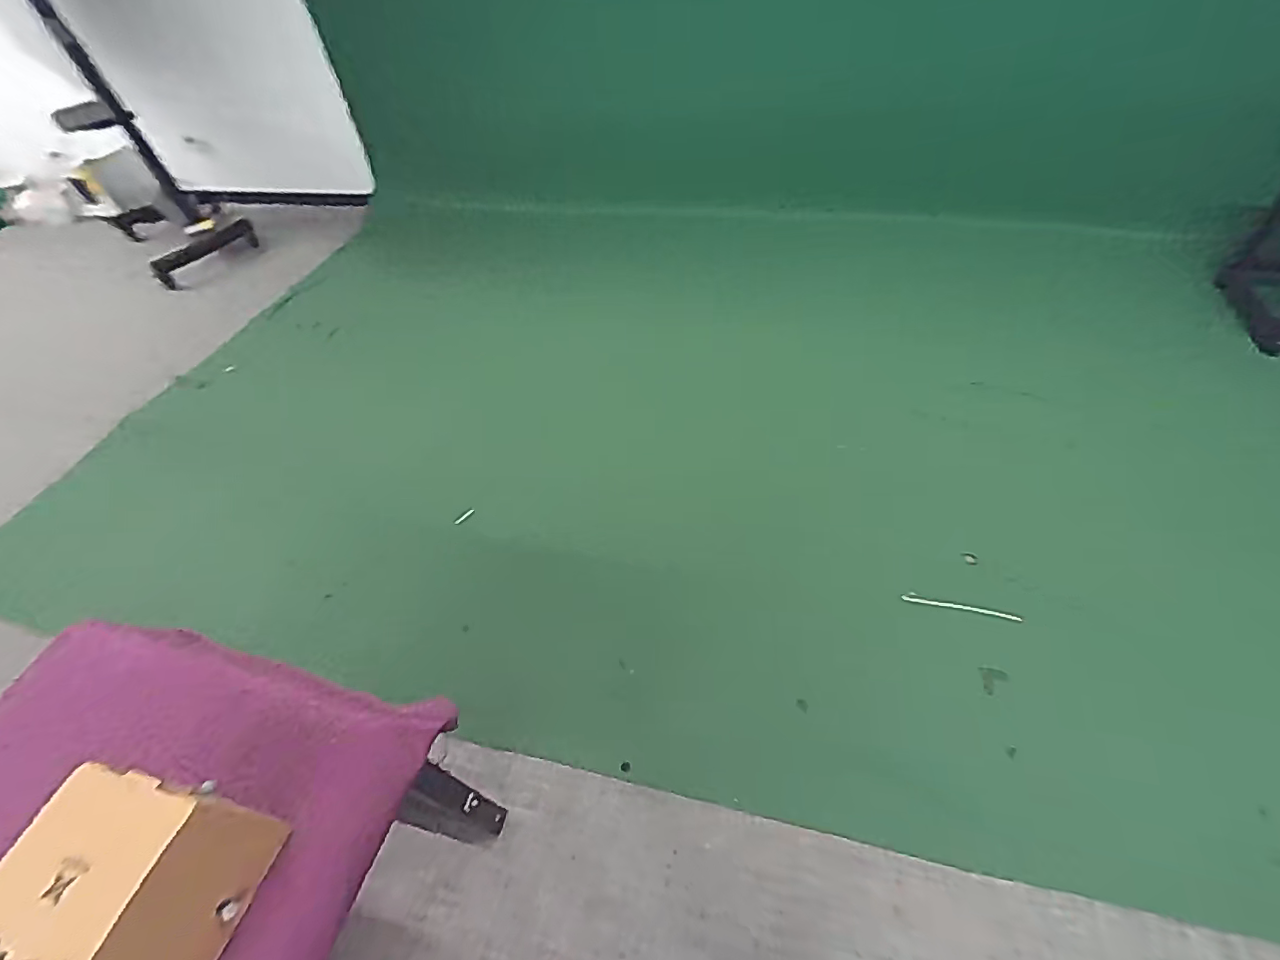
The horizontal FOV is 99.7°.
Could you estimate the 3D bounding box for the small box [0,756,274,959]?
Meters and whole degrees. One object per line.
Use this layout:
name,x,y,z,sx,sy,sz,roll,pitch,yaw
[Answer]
small box,-0.545,0.432,0.584,0.168,0.176,0.179,8,50,15
